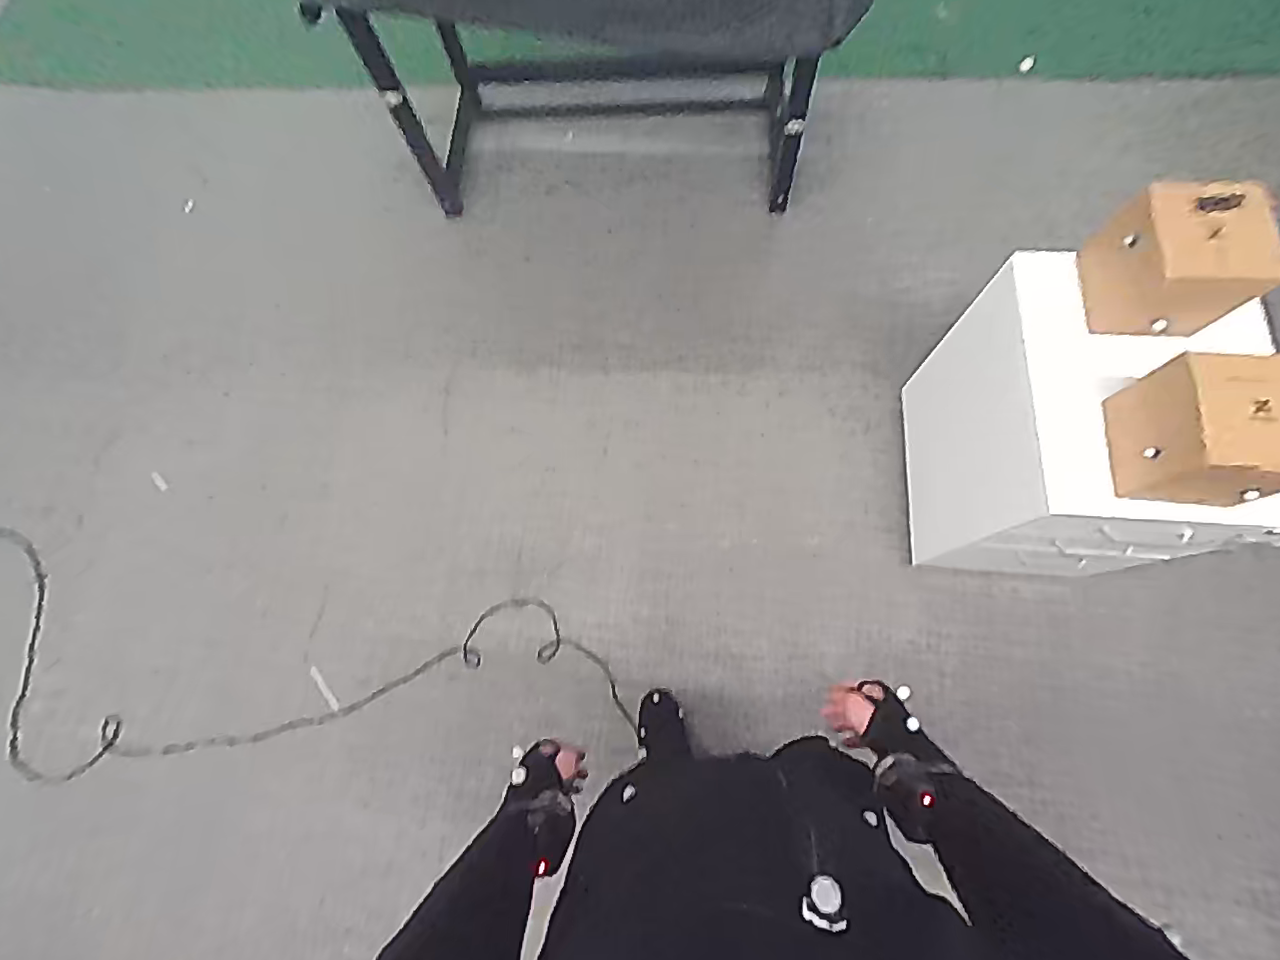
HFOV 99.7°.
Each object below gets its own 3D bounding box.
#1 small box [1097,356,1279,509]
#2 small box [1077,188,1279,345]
[{"bbox_3d":[0.843,-0.063,0.814,0.168,0.176,0.179,6,71,4],"label":"small box"},{"bbox_3d":[0.873,-0.348,0.899,0.168,0.176,0.179,4,75,5],"label":"small box"}]
